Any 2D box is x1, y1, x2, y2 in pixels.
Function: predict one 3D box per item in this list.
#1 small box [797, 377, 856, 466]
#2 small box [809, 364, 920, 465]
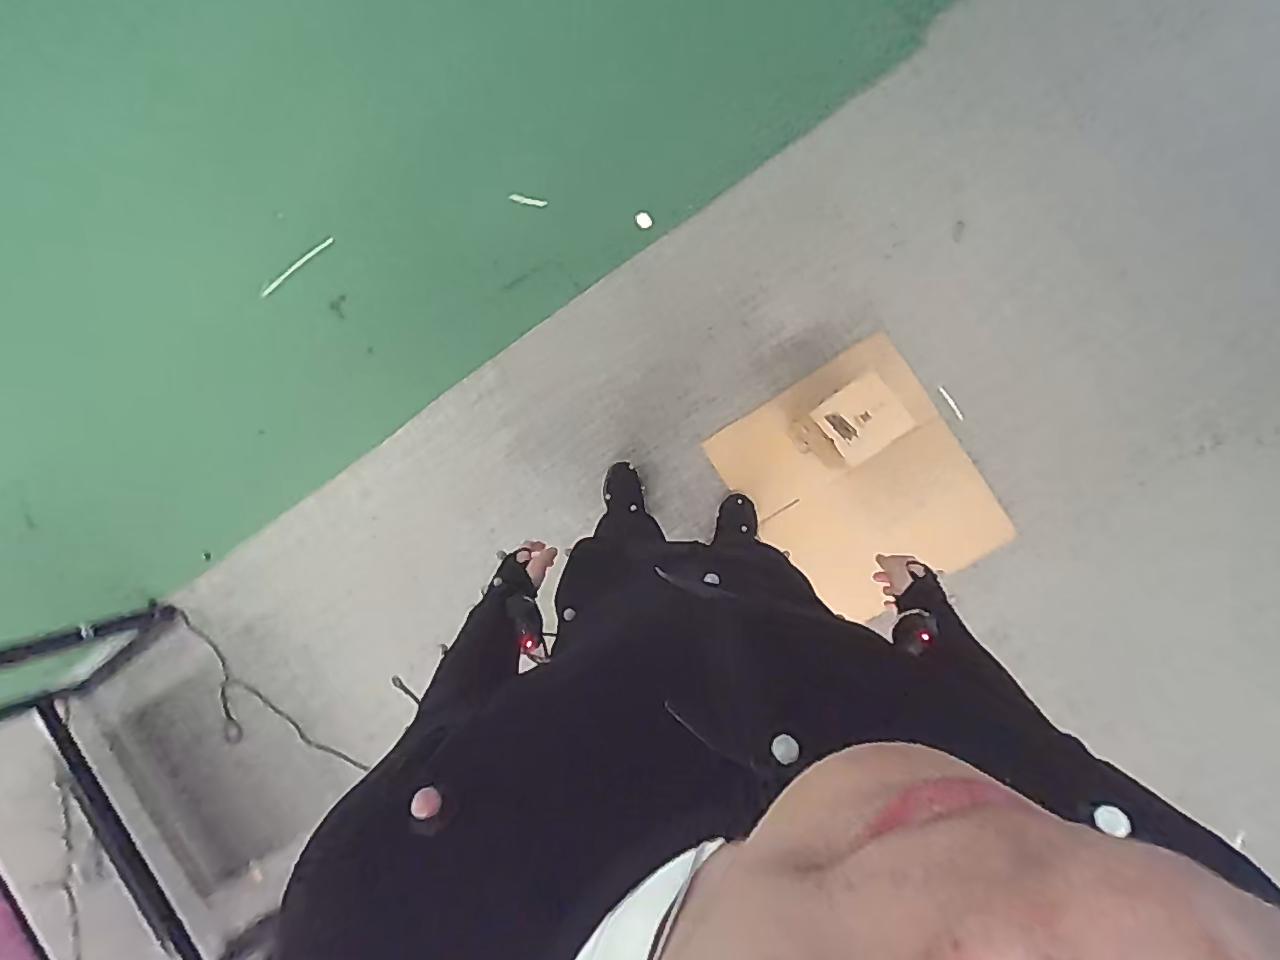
[{"bbox_3d":[0.550,-0.154,1.463,0.179,0.176,0.168,-40,86,8],"label":"small box"},{"bbox_3d":[0.525,-0.149,1.302,0.179,0.176,0.168,-36,86,7],"label":"small box"}]
